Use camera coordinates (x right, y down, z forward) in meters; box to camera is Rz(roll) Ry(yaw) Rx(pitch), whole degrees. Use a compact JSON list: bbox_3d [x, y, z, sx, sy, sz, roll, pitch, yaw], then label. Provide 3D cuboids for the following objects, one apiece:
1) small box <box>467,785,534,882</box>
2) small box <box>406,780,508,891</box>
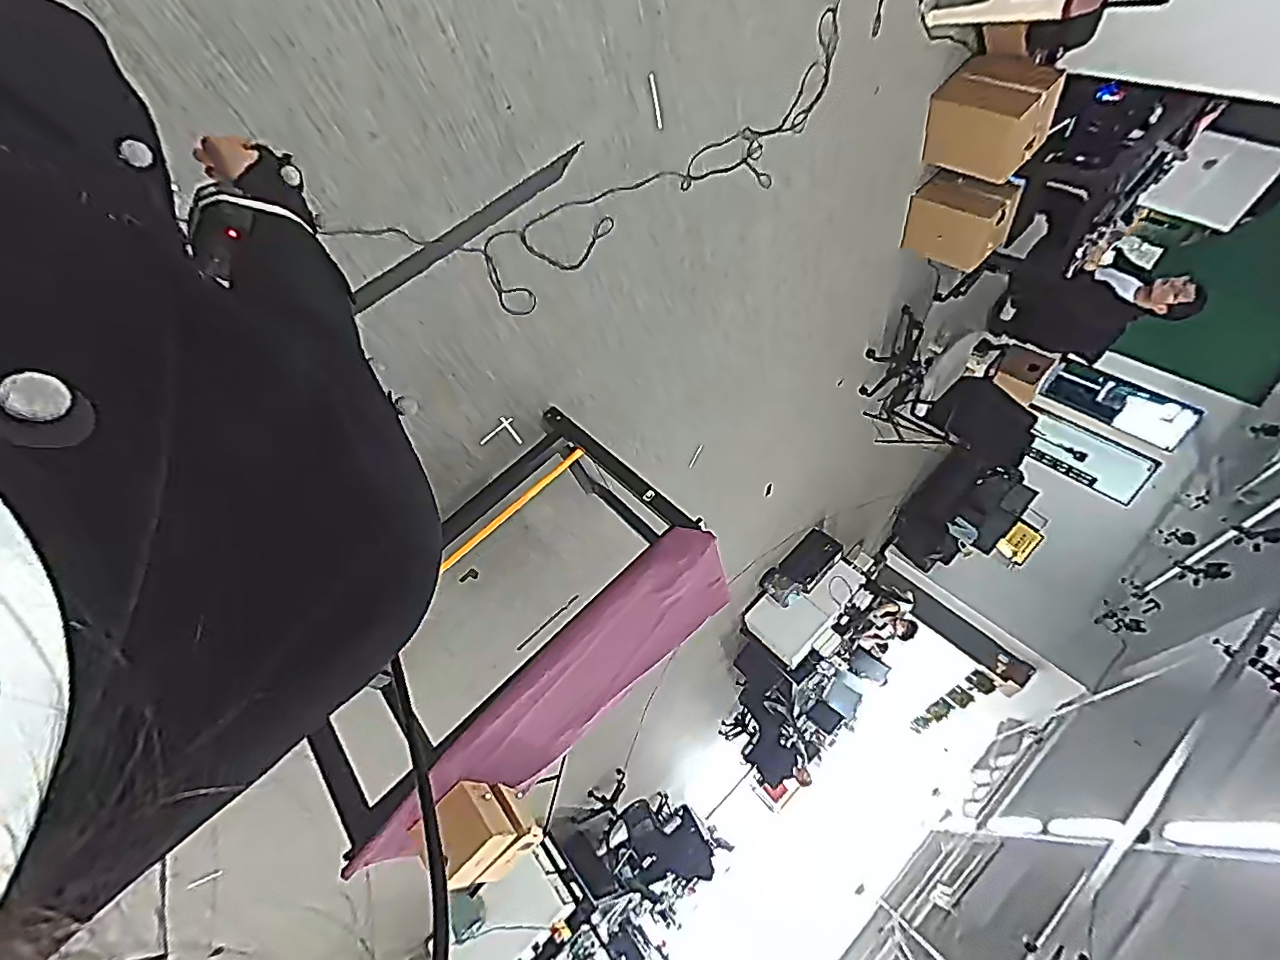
[{"bbox_3d":[-0.447,1.040,1.597,0.179,0.176,0.168,-38,145,-18],"label":"small box"},{"bbox_3d":[-0.490,0.935,1.431,0.179,0.176,0.168,-42,150,-15],"label":"small box"}]
